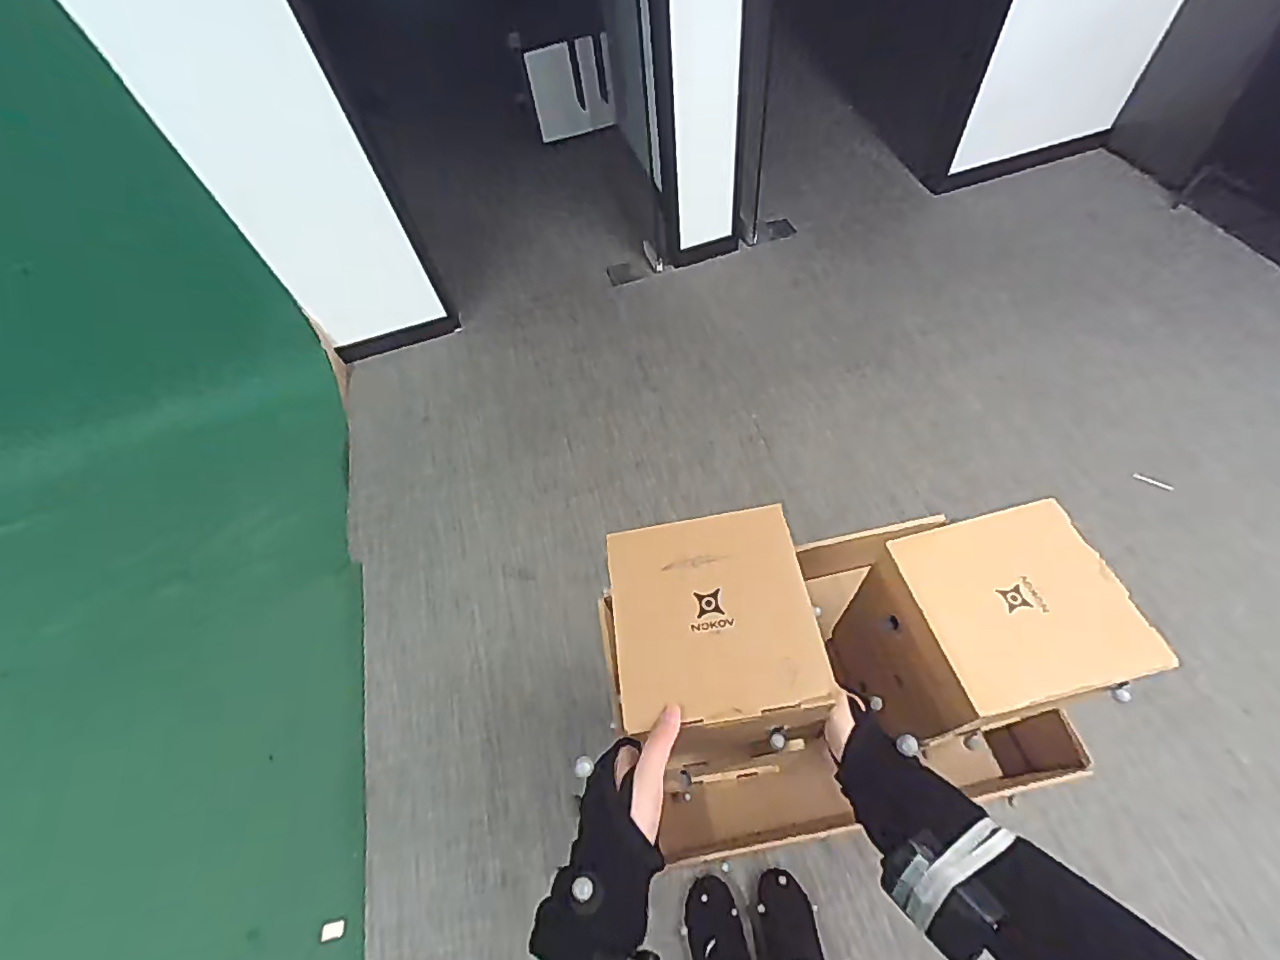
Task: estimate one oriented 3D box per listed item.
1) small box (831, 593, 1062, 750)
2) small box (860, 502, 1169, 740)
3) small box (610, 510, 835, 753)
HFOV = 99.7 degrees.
[{"bbox_3d":[0.367,0.233,0.690,0.168,0.176,0.179,-14,59,-2],"label":"small box"},{"bbox_3d":[0.345,0.151,0.551,0.179,0.176,0.168,-14,57,-2],"label":"small box"},{"bbox_3d":[0.072,0.155,0.520,0.168,0.176,0.179,-10,55,3],"label":"small box"}]
